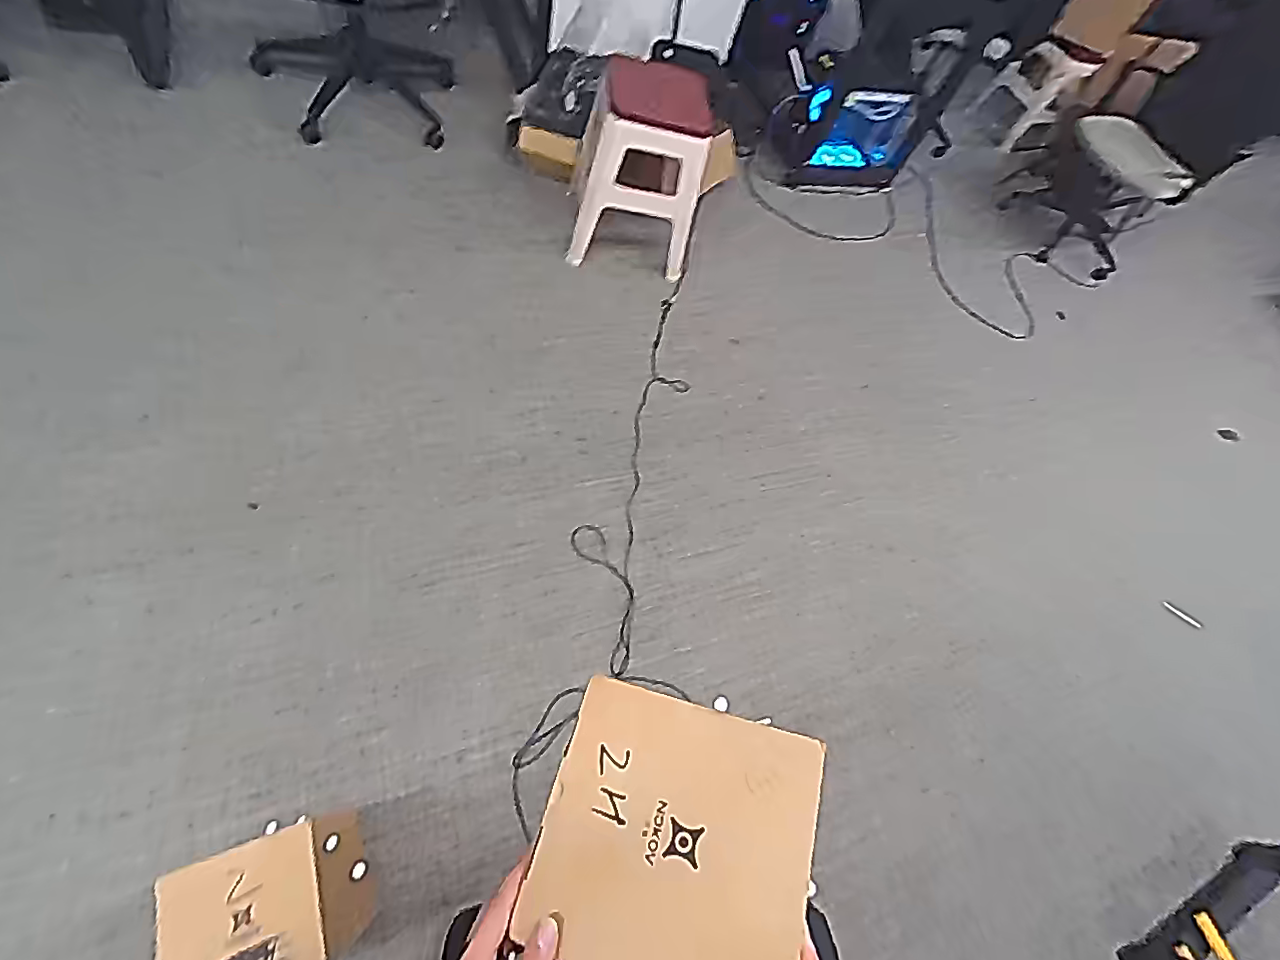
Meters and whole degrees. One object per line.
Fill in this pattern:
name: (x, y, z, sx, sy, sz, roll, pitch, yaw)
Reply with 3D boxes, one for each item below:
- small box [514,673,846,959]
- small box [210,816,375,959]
small box: (0.040, 0.266, 0.405, 0.179, 0.176, 0.168, 11, 61, 17)
small box: (-0.532, 0.655, 0.846, 0.168, 0.176, 0.179, -17, 69, -24)
